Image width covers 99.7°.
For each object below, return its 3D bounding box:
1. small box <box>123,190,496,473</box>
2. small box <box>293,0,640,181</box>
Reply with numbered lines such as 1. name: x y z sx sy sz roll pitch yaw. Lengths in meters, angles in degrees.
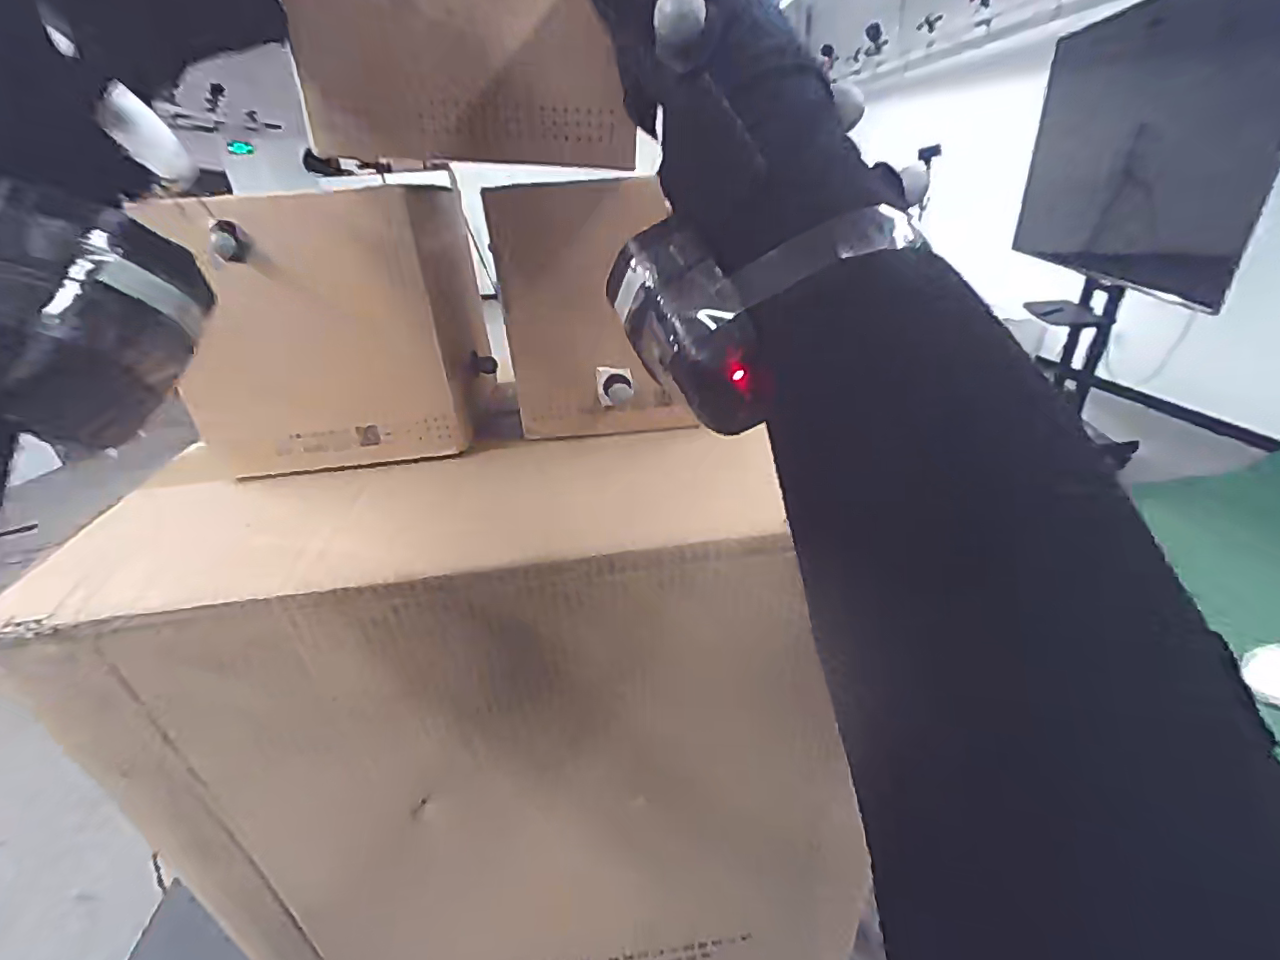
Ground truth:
1. small box: -0.215 -0.119 0.418 0.168 0.176 0.179 -7 26 -3
2. small box: -0.096 -0.286 0.333 0.179 0.176 0.168 -4 32 -10
